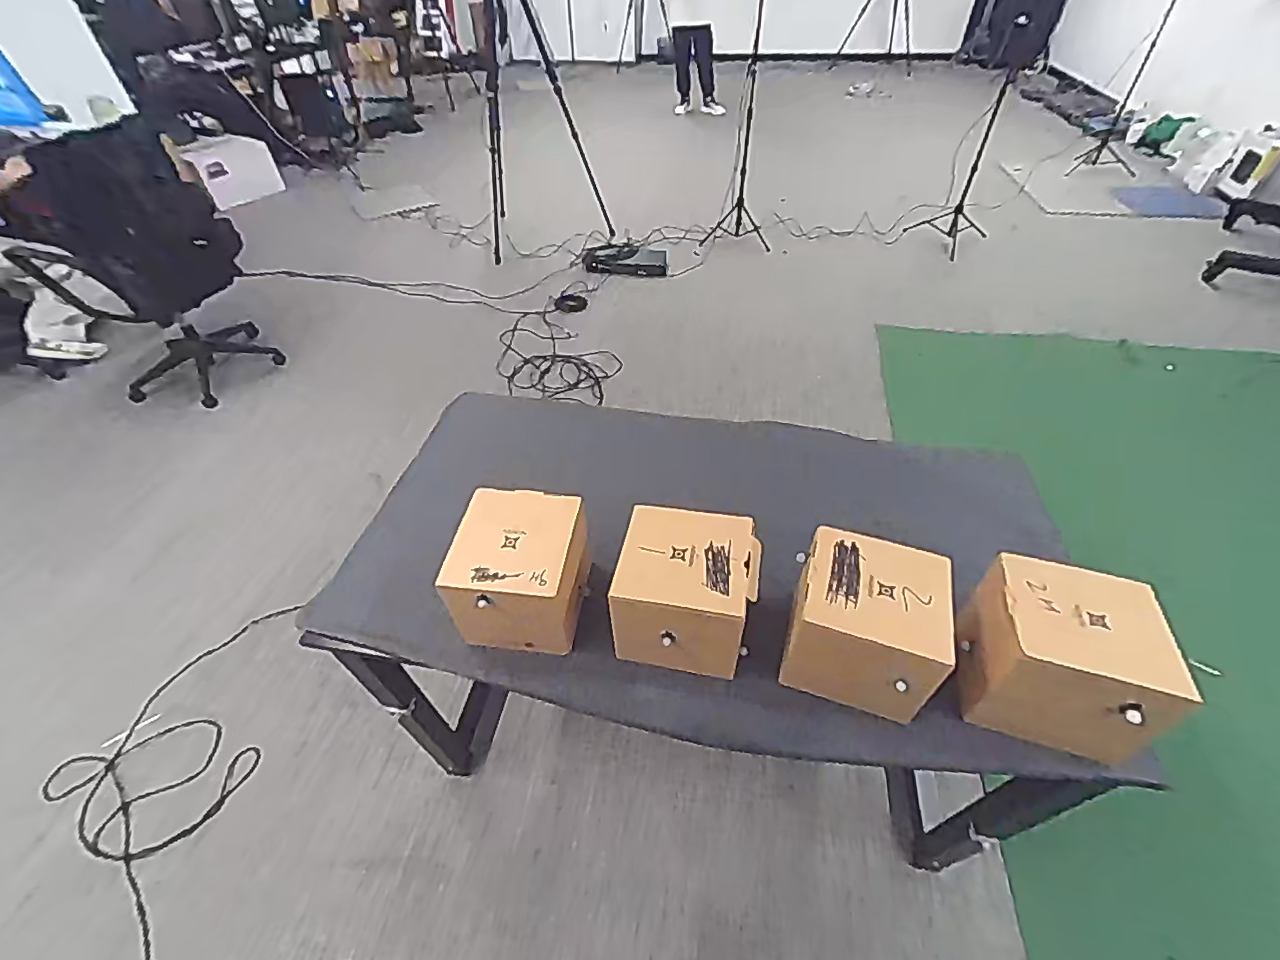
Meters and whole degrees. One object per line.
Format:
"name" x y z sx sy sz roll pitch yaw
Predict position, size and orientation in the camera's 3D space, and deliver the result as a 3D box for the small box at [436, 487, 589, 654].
"small box" -0.176 0.135 0.815 0.168 0.176 0.179 4 46 7
